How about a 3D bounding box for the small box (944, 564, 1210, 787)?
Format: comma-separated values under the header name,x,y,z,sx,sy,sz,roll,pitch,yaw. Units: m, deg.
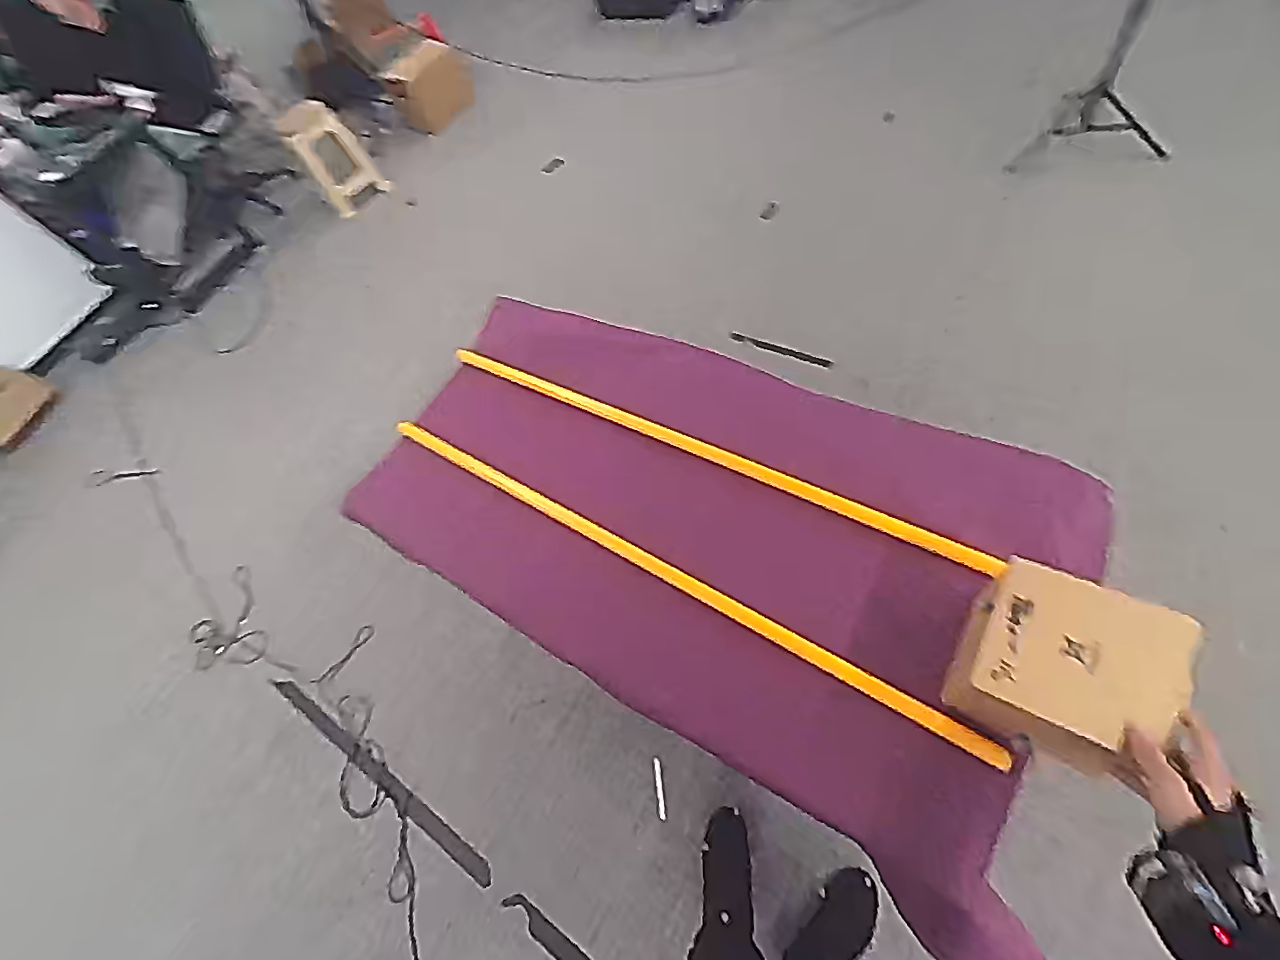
name,x,y,z,sx,sy,sz,roll,pitch,yaw
small box,0.491,0.227,0.634,0.179,0.176,0.168,24,71,27
